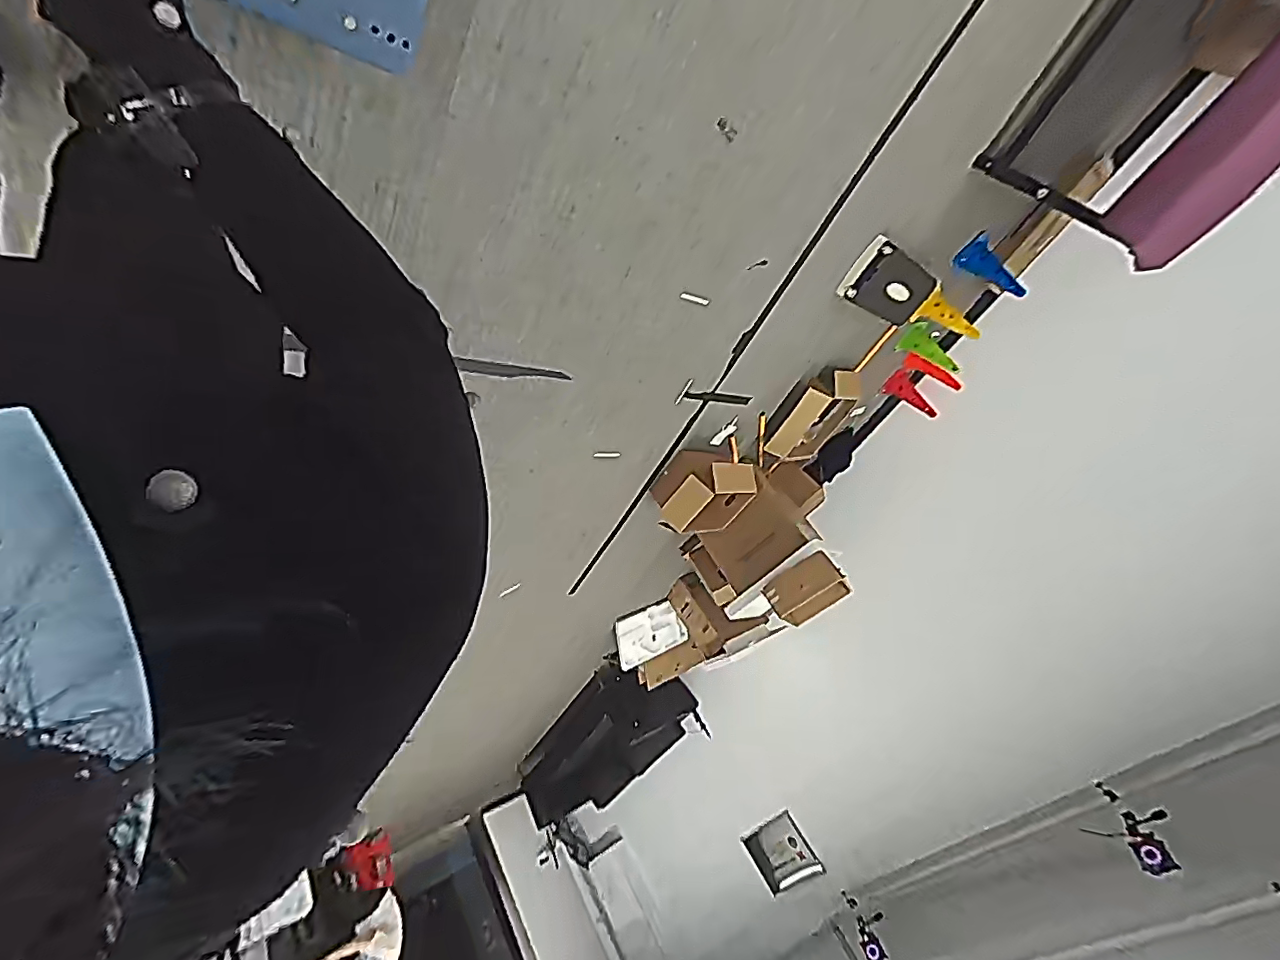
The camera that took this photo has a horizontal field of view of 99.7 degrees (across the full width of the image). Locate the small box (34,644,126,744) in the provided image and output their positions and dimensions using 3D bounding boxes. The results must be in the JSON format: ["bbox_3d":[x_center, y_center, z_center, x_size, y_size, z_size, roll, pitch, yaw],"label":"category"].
[{"bbox_3d":[-1.536,0.580,1.482,0.168,0.176,0.179,0,135,-49],"label":"small box"}]
